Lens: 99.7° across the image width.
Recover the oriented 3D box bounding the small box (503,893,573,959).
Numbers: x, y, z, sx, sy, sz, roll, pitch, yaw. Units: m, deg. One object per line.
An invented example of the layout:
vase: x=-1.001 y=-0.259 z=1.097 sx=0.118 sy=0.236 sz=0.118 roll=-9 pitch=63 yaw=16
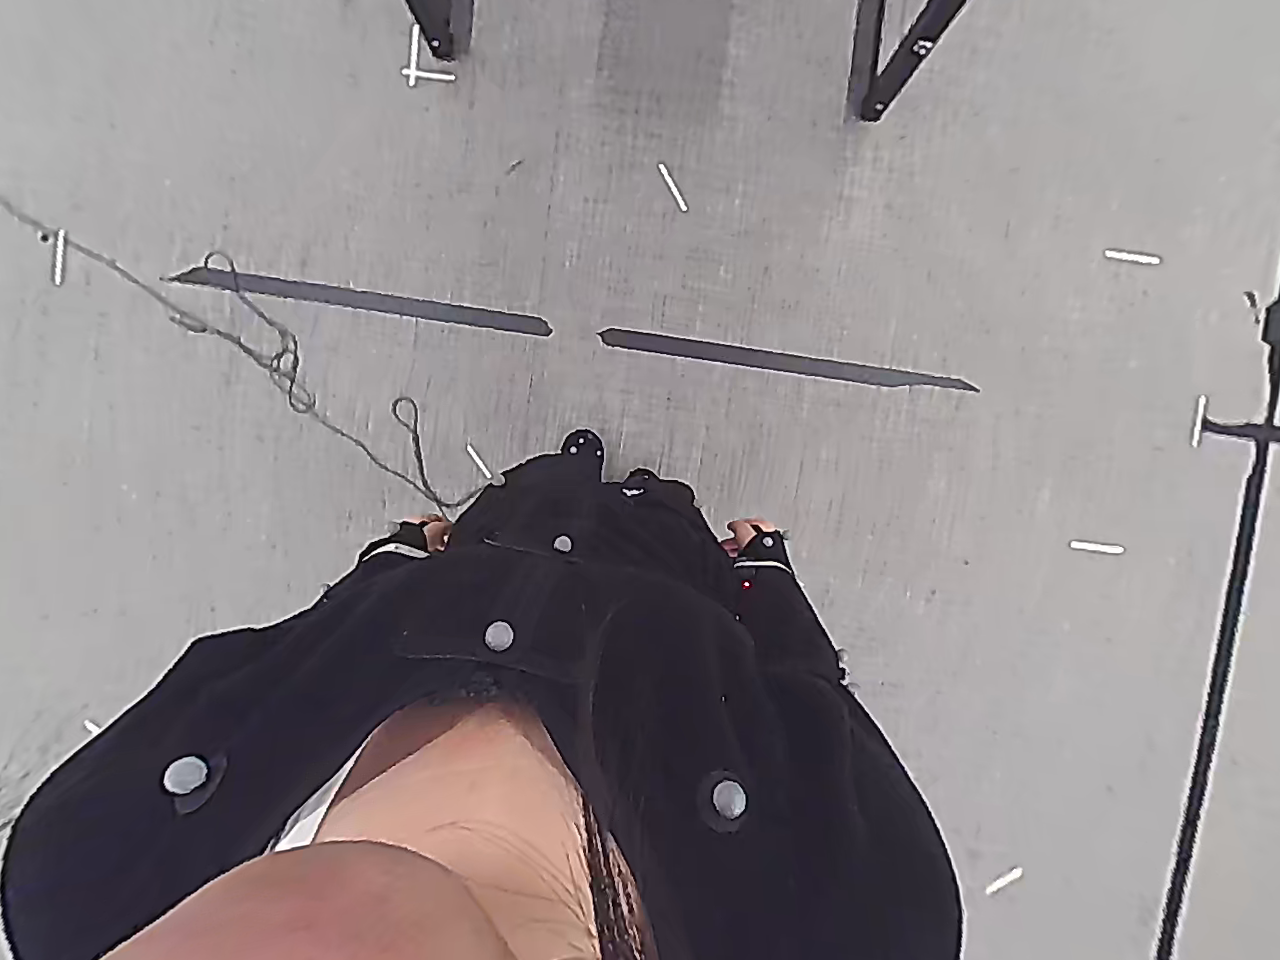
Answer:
small box: x=-0.274 y=1.266 z=1.470 sx=0.168 sy=0.176 sz=0.179 roll=0 pitch=93 yaw=-2
